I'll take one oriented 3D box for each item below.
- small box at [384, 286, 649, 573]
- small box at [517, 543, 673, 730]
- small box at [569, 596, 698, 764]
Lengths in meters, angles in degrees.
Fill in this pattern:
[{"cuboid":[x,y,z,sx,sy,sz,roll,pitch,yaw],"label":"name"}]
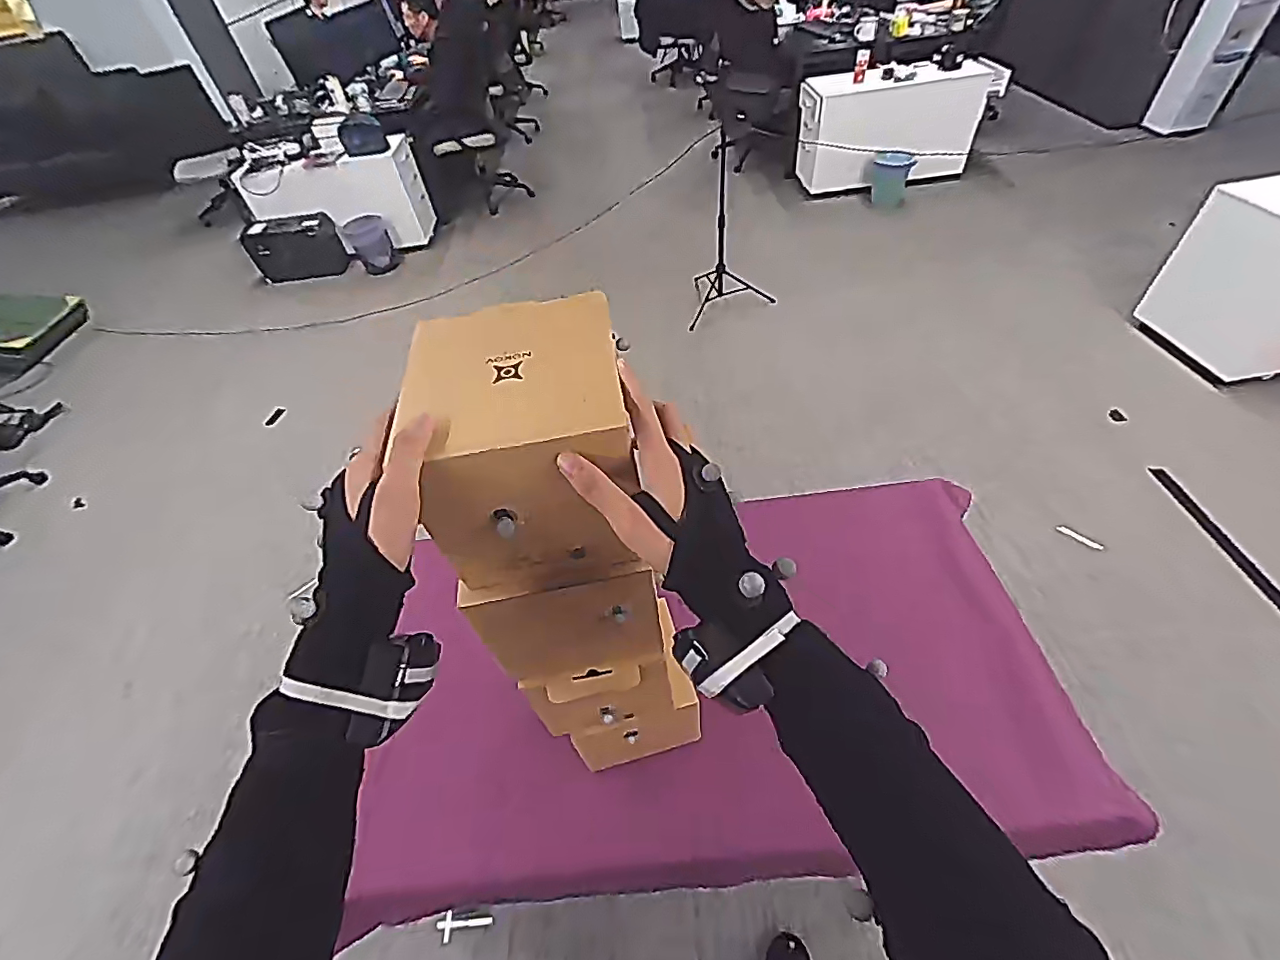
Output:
[{"cuboid":[-0.090,-0.036,0.466,0.168,0.176,0.179,-10,48,-1],"label":"small box"},{"cuboid":[-0.055,0.195,0.696,0.168,0.176,0.179,-11,49,-1],"label":"small box"},{"cuboid":[-0.017,0.305,0.815,0.179,0.176,0.168,-14,49,-5],"label":"small box"}]
